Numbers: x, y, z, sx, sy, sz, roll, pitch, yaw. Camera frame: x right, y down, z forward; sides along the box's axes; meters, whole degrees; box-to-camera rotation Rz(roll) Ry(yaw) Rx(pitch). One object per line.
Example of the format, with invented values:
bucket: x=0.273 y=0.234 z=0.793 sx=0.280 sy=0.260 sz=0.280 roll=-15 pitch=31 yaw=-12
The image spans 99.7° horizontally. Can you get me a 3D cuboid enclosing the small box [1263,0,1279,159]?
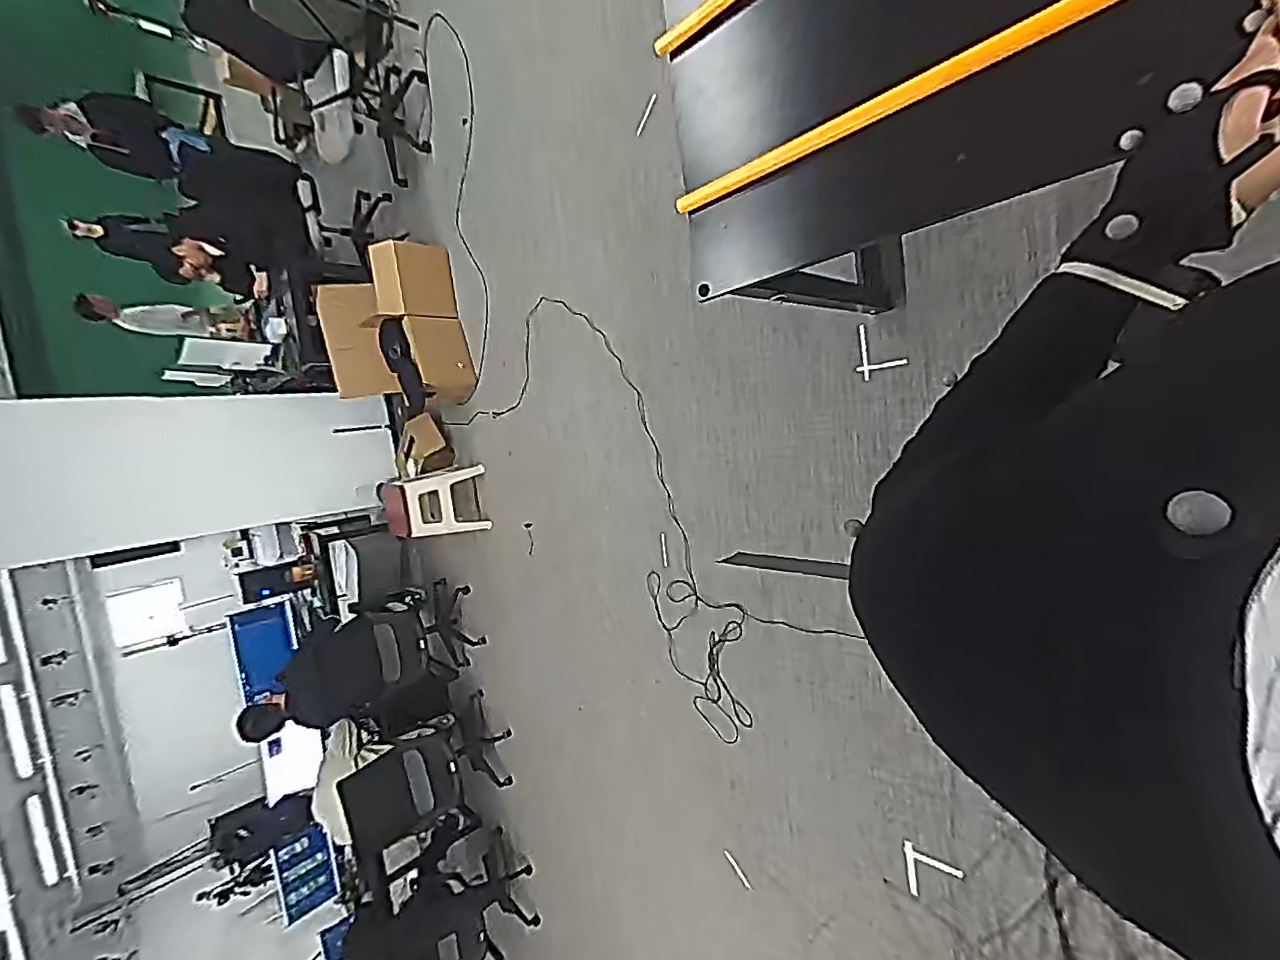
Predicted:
small box: x=0.501 y=-0.317 z=0.322 sx=0.168 sy=0.176 sz=0.179 roll=-4 pitch=98 yaw=50
